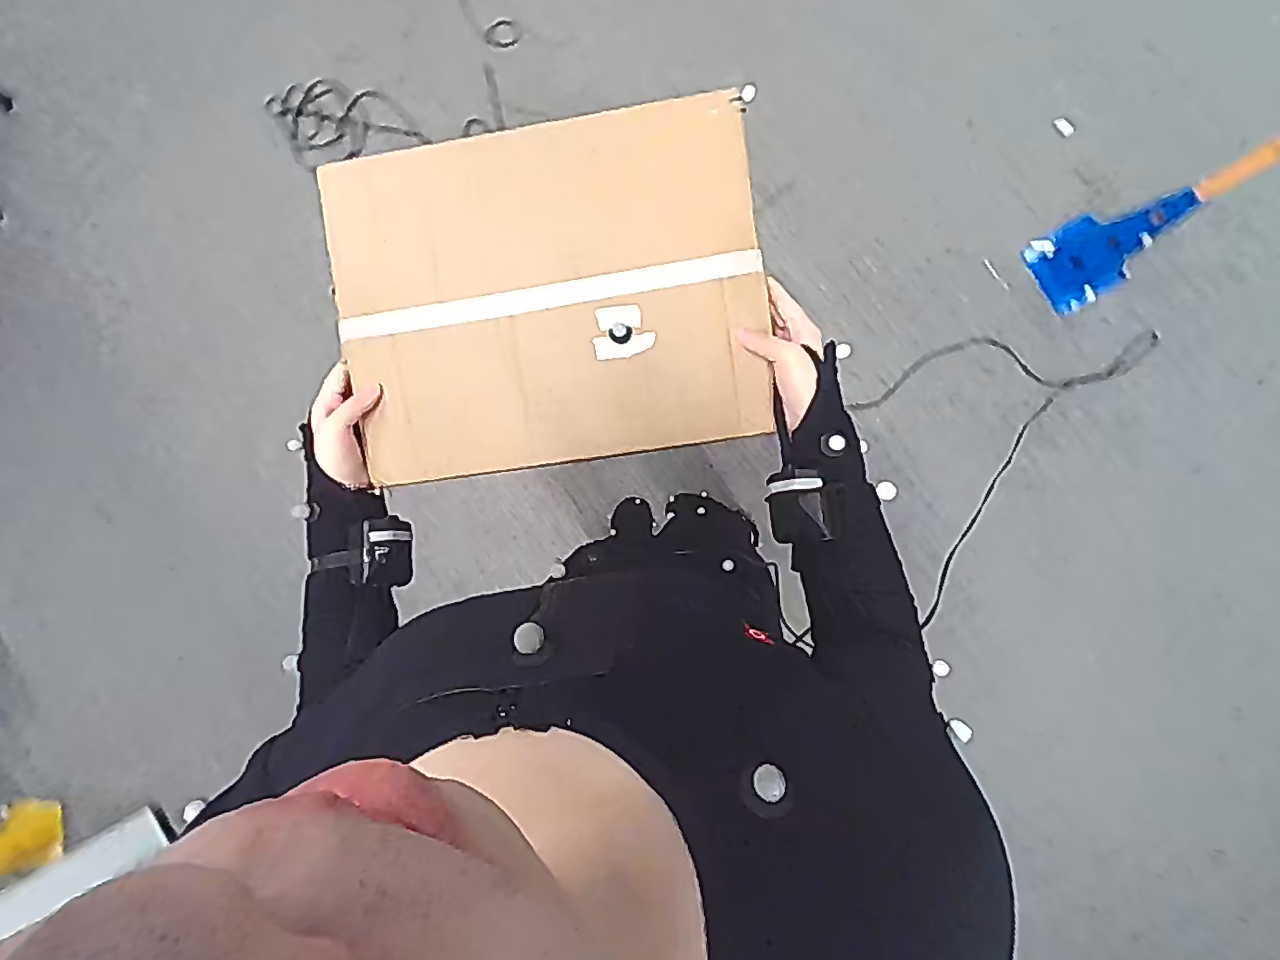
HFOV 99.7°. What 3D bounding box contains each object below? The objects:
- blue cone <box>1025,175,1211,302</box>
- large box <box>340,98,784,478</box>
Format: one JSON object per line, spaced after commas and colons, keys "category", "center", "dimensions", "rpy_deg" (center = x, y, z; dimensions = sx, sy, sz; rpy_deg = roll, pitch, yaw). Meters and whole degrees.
{"category": "blue cone", "center": [1.108, -0.577, 1.245], "dimensions": [0.192, 0.380, 0.193], "rpy_deg": [-29, 87, 4]}
{"category": "large box", "center": [-0.071, -0.186, 0.666], "dimensions": [0.408, 0.320, 0.320], "rpy_deg": [-7, 94, 3]}
